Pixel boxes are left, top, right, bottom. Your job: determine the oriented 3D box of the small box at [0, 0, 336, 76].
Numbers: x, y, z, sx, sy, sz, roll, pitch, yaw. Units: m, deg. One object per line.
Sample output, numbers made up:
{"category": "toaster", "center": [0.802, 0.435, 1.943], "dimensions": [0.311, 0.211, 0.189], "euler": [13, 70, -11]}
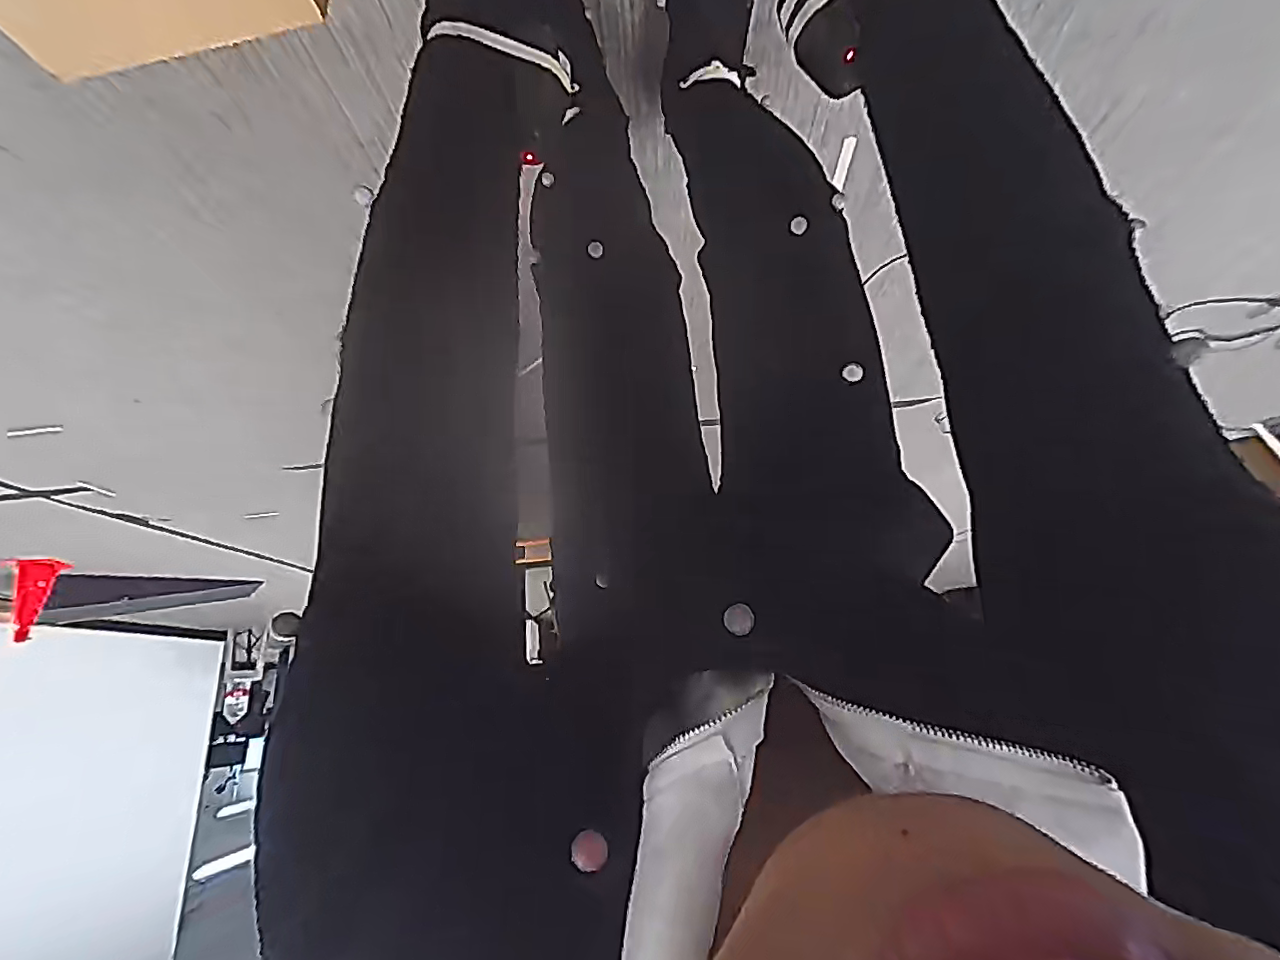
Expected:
{"category": "small box", "center": [-0.264, -0.345, 0.248], "dimensions": [0.168, 0.176, 0.179], "euler": [-8, 160, 6]}
